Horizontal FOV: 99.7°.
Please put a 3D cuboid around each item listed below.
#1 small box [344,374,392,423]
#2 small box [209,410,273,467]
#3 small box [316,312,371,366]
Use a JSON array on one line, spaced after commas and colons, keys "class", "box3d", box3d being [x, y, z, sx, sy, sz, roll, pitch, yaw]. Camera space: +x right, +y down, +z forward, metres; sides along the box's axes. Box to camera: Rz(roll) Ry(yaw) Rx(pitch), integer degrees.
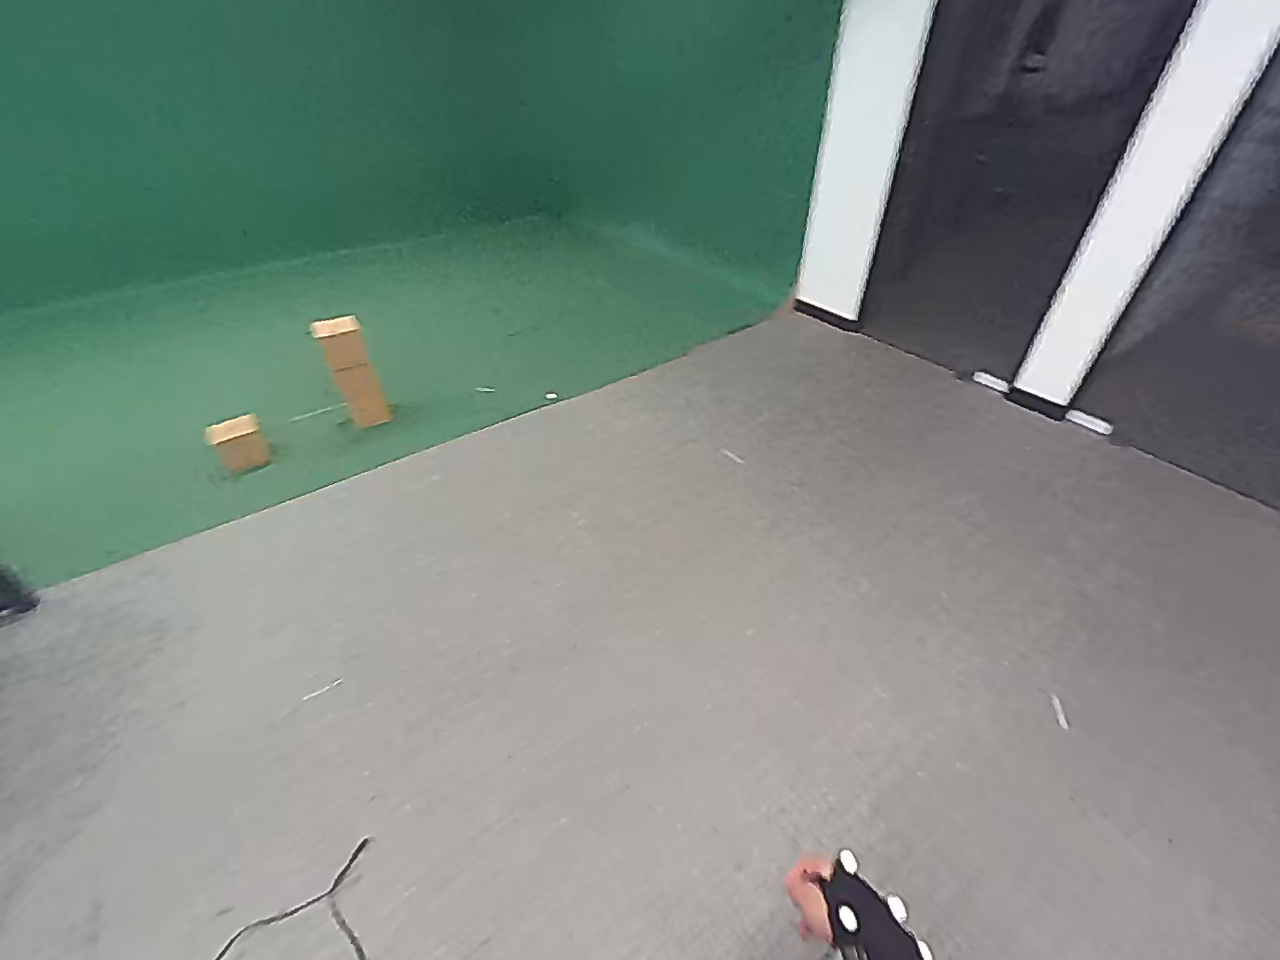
[{"class": "small box", "box3d": [-1.345, -0.399, 2.680, 0.168, 0.176, 0.179, -19, 44, -20]}, {"class": "small box", "box3d": [-1.794, -0.186, 2.435, 0.179, 0.176, 0.168, -25, 47, -26]}, {"class": "small box", "box3d": [-1.347, -0.640, 2.455, 0.168, 0.176, 0.179, -21, 44, -24]}]
